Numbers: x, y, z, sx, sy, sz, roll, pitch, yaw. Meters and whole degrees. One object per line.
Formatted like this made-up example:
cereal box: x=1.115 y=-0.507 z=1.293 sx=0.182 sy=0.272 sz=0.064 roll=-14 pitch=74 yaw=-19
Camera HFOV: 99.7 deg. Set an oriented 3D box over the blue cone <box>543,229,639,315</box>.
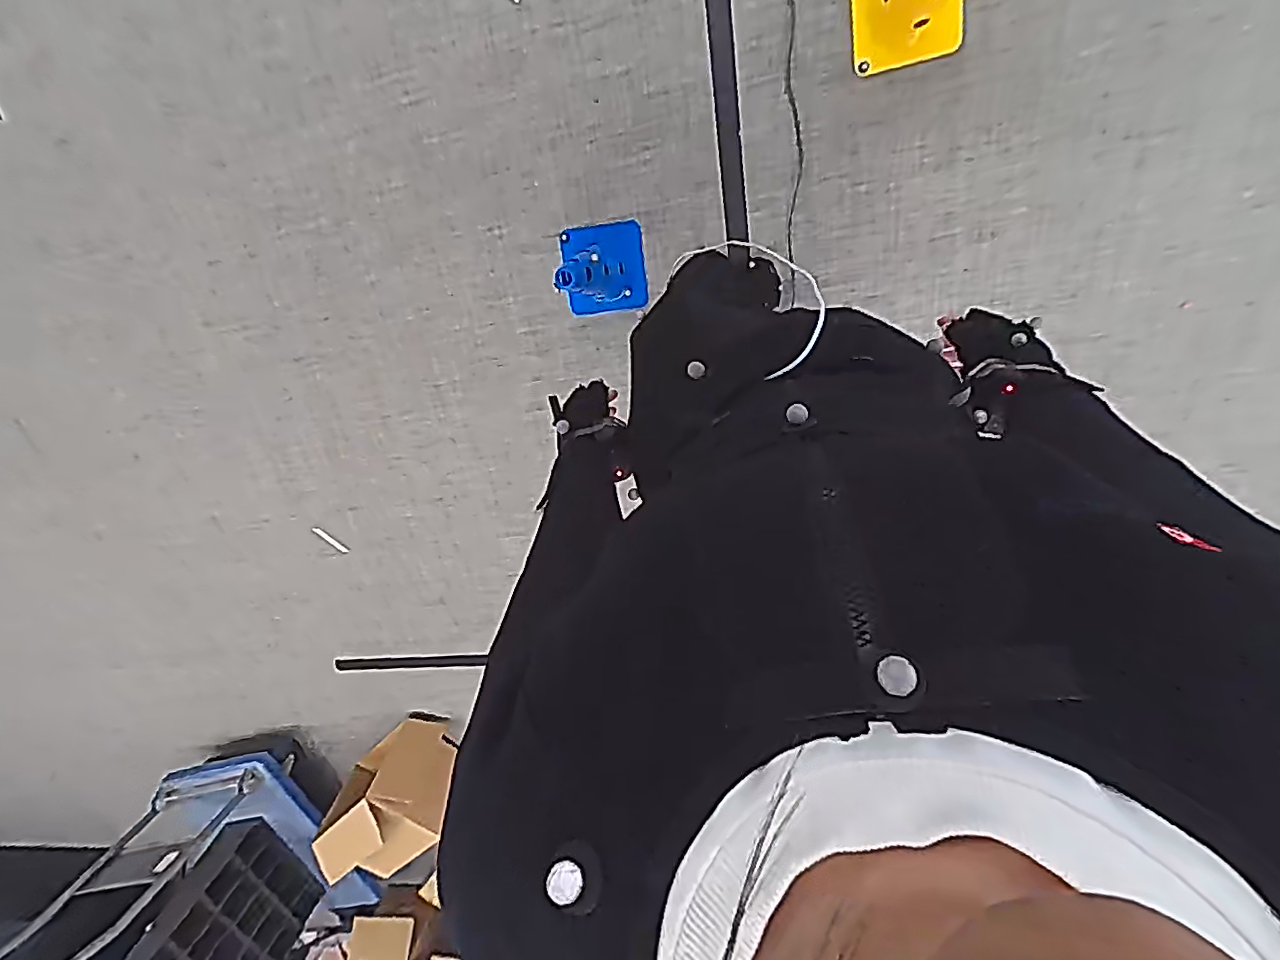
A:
blue cone: x=-0.125 y=-0.444 z=1.174 sx=0.192 sy=0.380 sz=0.193 roll=-1 pitch=113 yaw=11
